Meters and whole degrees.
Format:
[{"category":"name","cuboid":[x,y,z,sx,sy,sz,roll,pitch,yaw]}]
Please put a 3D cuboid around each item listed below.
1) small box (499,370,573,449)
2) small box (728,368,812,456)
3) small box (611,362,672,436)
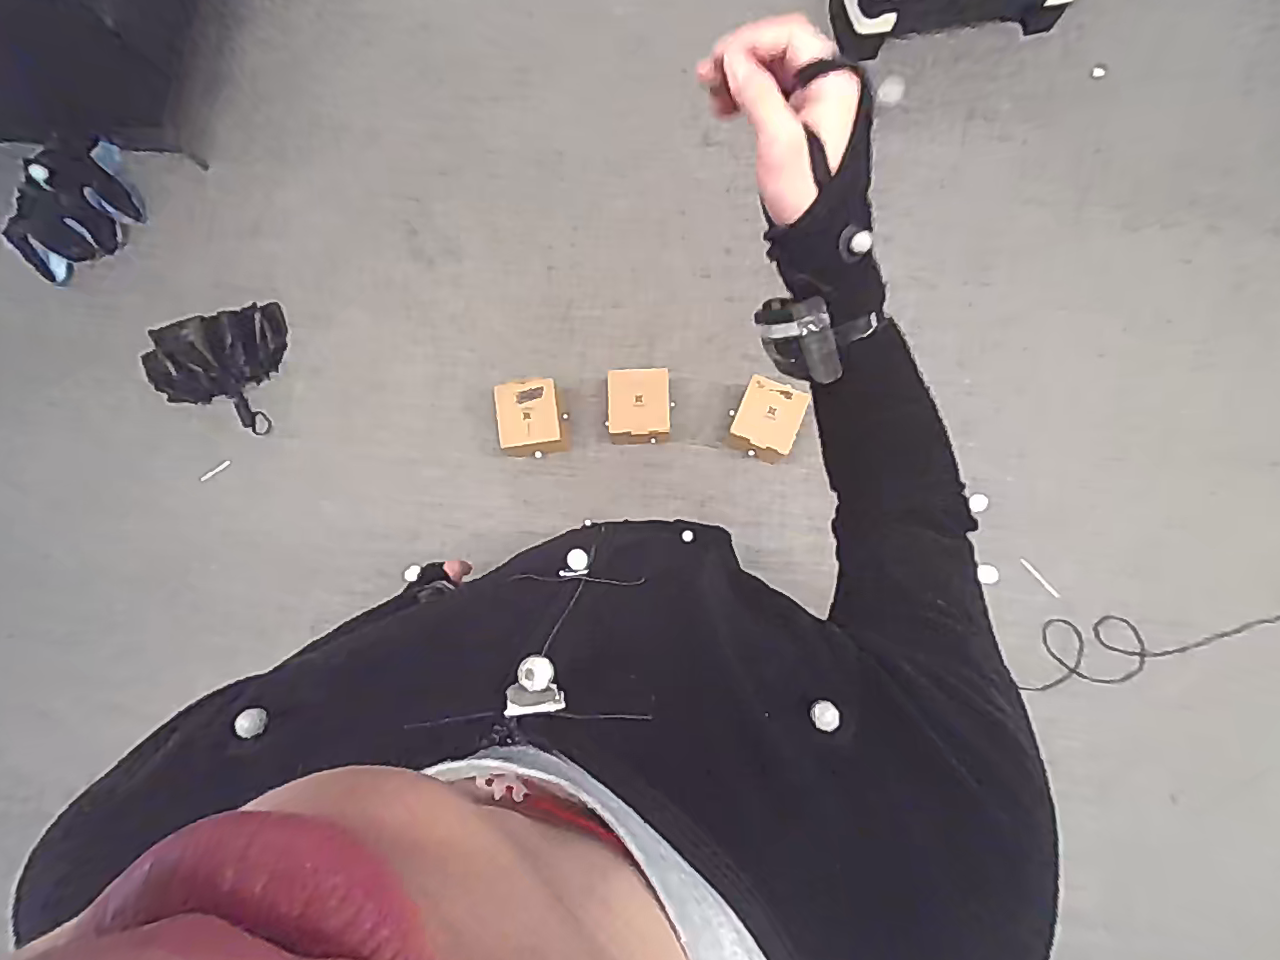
[{"category":"small box","cuboid":[-0.290,-0.195,1.534,0.168,0.176,0.179,-8,84,2]},{"category":"small box","cuboid":[0.353,-0.180,1.503,0.168,0.176,0.179,24,86,5]},{"category":"small box","cuboid":[0.006,-0.222,1.527,0.168,0.176,0.179,-2,83,1]}]
